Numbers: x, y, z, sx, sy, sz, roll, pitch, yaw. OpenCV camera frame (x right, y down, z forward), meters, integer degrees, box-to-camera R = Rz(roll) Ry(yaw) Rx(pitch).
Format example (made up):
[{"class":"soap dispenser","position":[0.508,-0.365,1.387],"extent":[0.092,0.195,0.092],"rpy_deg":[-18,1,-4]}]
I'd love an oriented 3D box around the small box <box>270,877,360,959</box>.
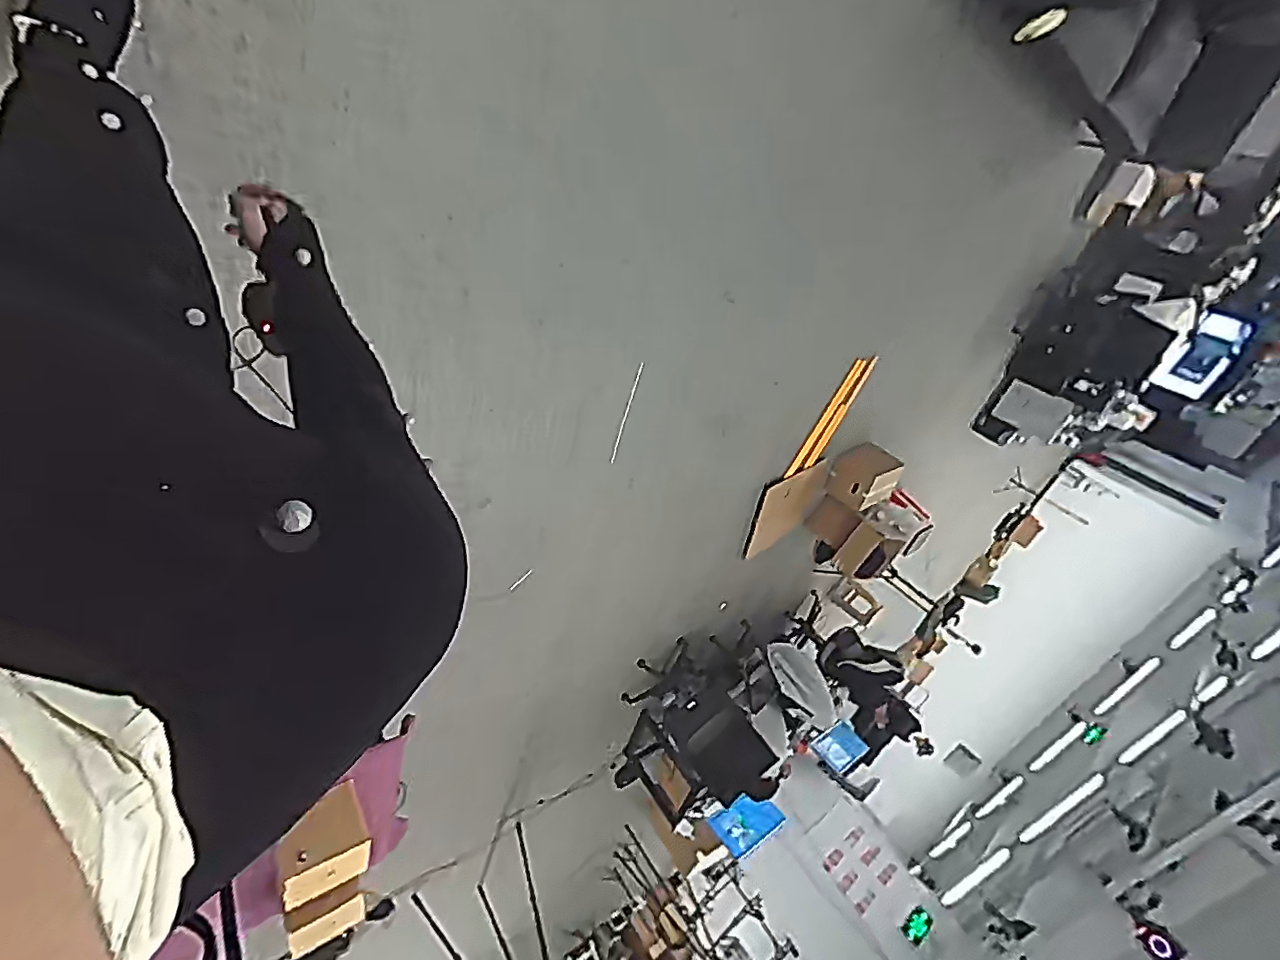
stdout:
[{"class":"small box","position":[-0.870,1.123,1.451],"extent":[0.179,0.176,0.168],"rpy_deg":[-11,131,-38]}]

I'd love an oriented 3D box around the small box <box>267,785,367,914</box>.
[{"class":"small box","position":[-0.785,0.883,1.310],"extent":[0.179,0.176,0.168],"rpy_deg":[-7,130,-40]}]
